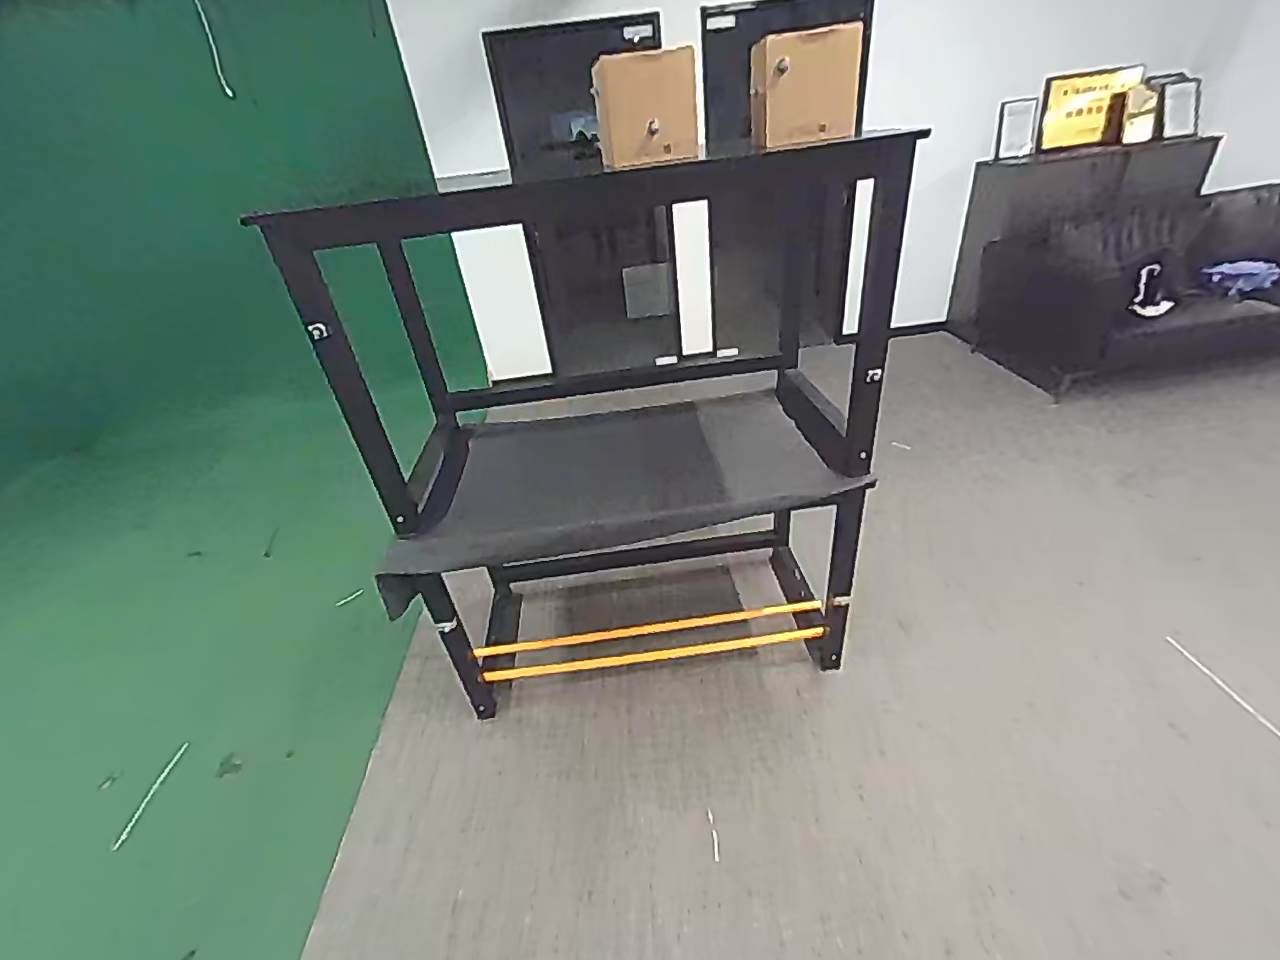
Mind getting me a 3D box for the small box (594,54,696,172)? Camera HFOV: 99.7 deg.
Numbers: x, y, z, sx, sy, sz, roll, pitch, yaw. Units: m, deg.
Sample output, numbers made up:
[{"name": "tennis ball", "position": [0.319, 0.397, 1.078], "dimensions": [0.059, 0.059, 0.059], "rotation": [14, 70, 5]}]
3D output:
[{"name": "small box", "position": [0.008, -0.704, 1.052], "dimensions": [0.168, 0.176, 0.179], "rotation": [-11, 32, -4]}]
